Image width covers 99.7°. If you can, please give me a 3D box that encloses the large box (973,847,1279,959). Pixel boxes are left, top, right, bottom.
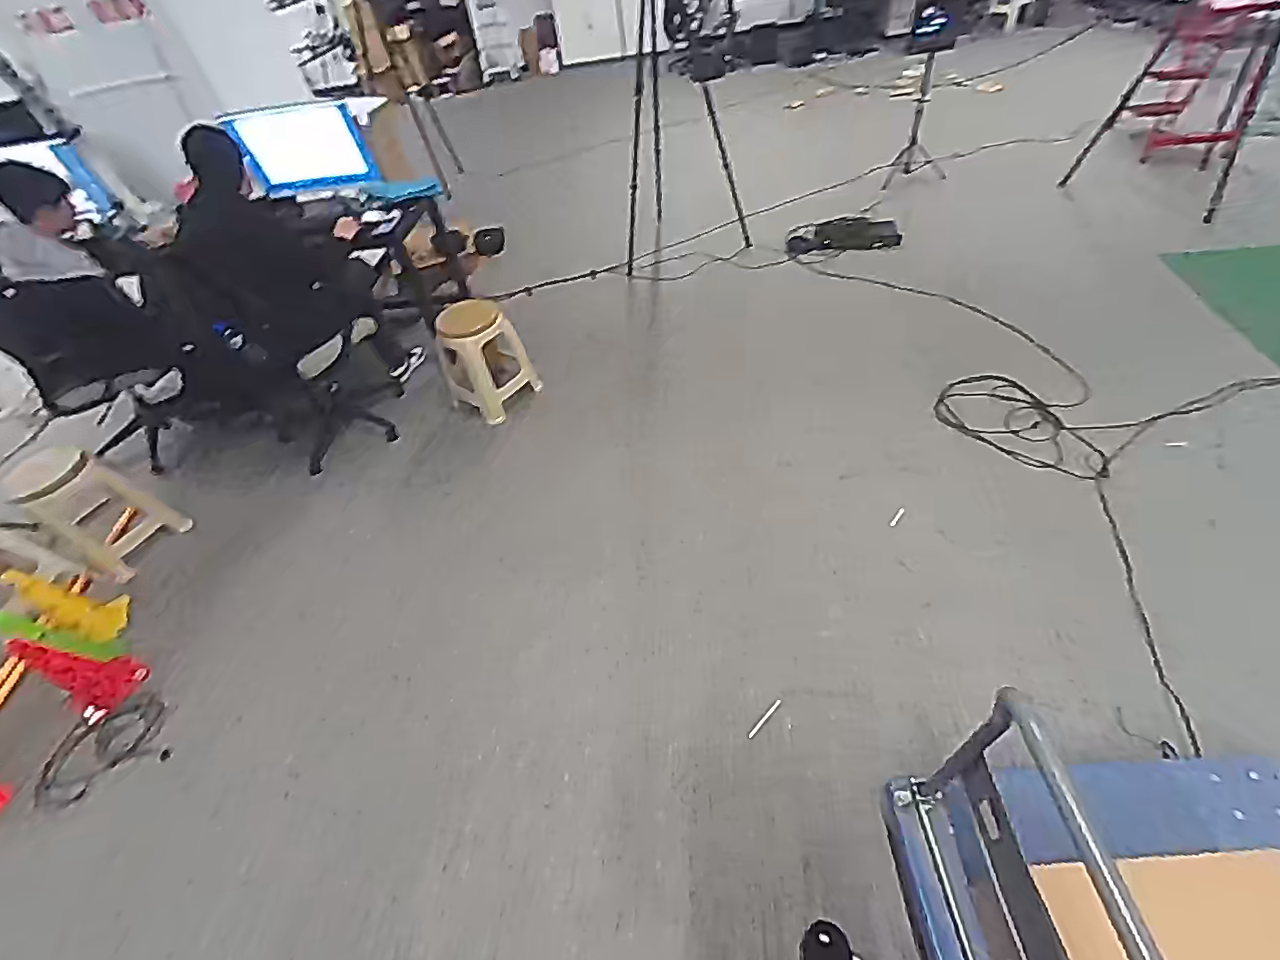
[{"bbox_3d":[0.857,0.827,0.879,0.408,0.320,0.320,-7,47,3],"label":"large box"}]
